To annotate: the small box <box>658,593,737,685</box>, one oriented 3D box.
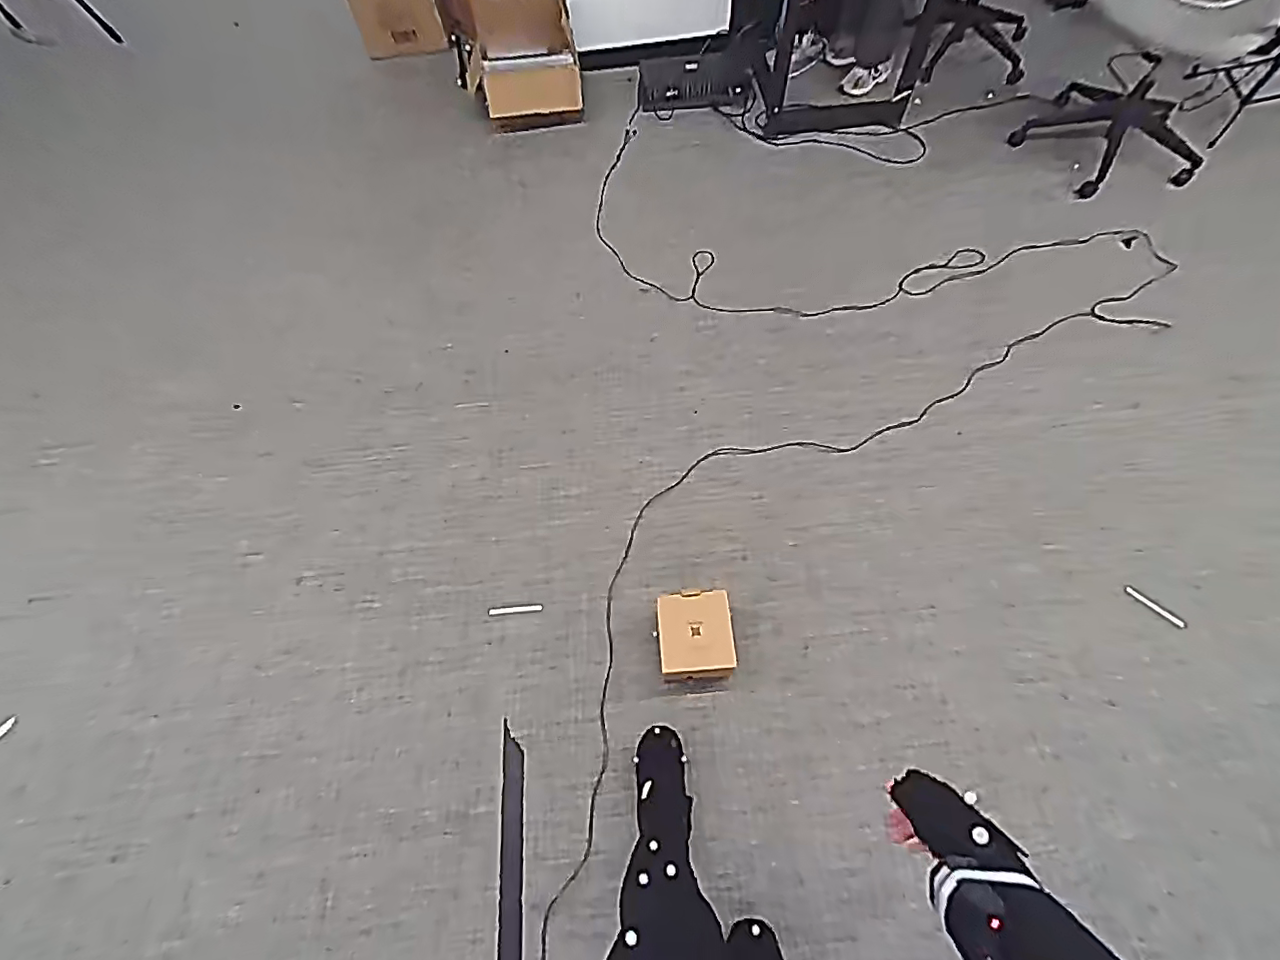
[{"bbox_3d":[0.130,0.380,1.280,0.168,0.176,0.179,-5,64,1],"label":"small box"}]
